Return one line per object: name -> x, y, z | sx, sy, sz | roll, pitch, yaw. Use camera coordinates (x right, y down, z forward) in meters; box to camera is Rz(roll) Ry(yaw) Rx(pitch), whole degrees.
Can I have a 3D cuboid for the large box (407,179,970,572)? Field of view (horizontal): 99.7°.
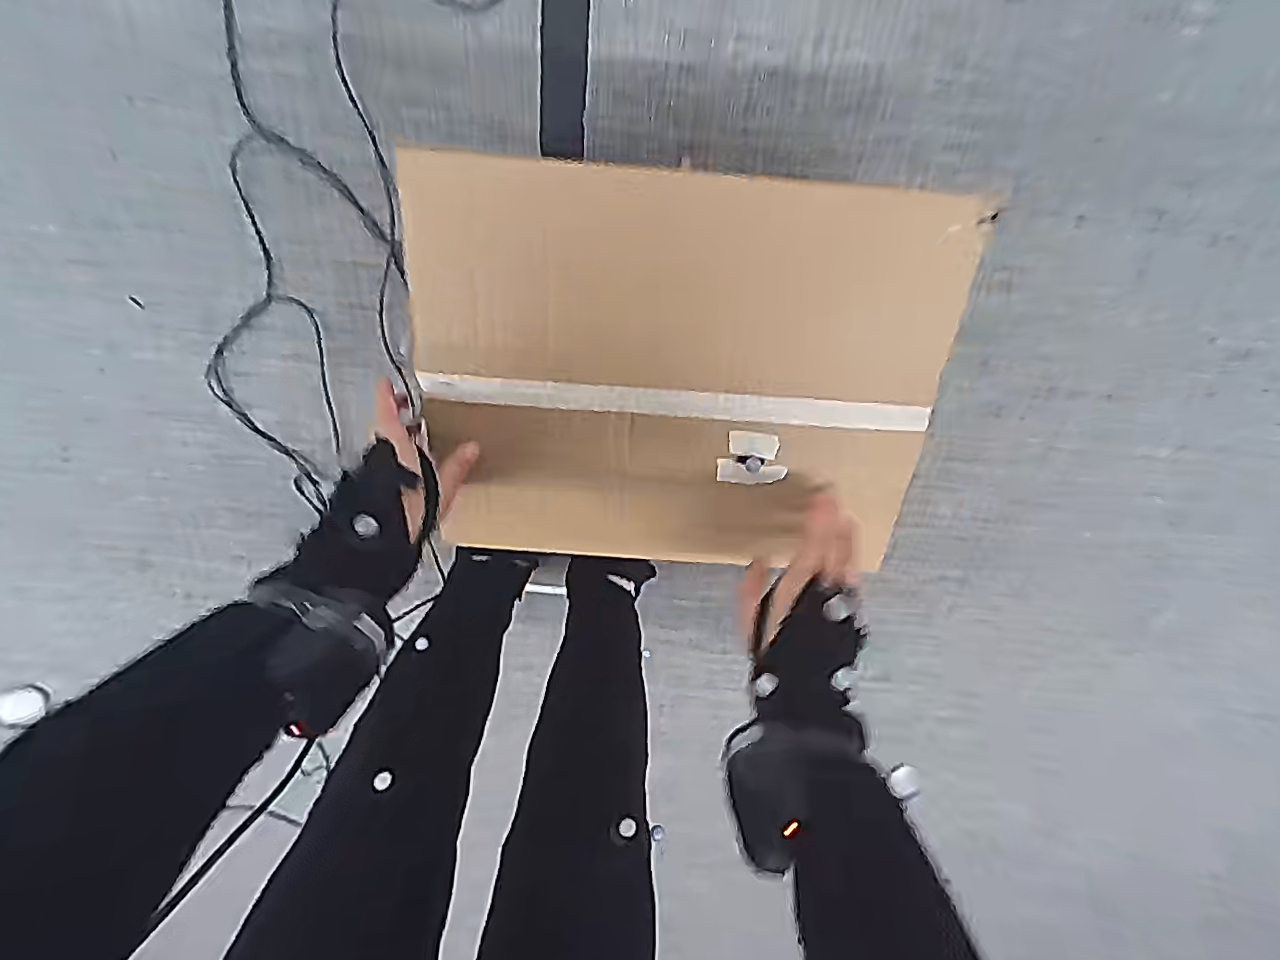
large box -> 0.026, -0.124, 0.574 | 0.408, 0.320, 0.320 | 4, 117, -2
